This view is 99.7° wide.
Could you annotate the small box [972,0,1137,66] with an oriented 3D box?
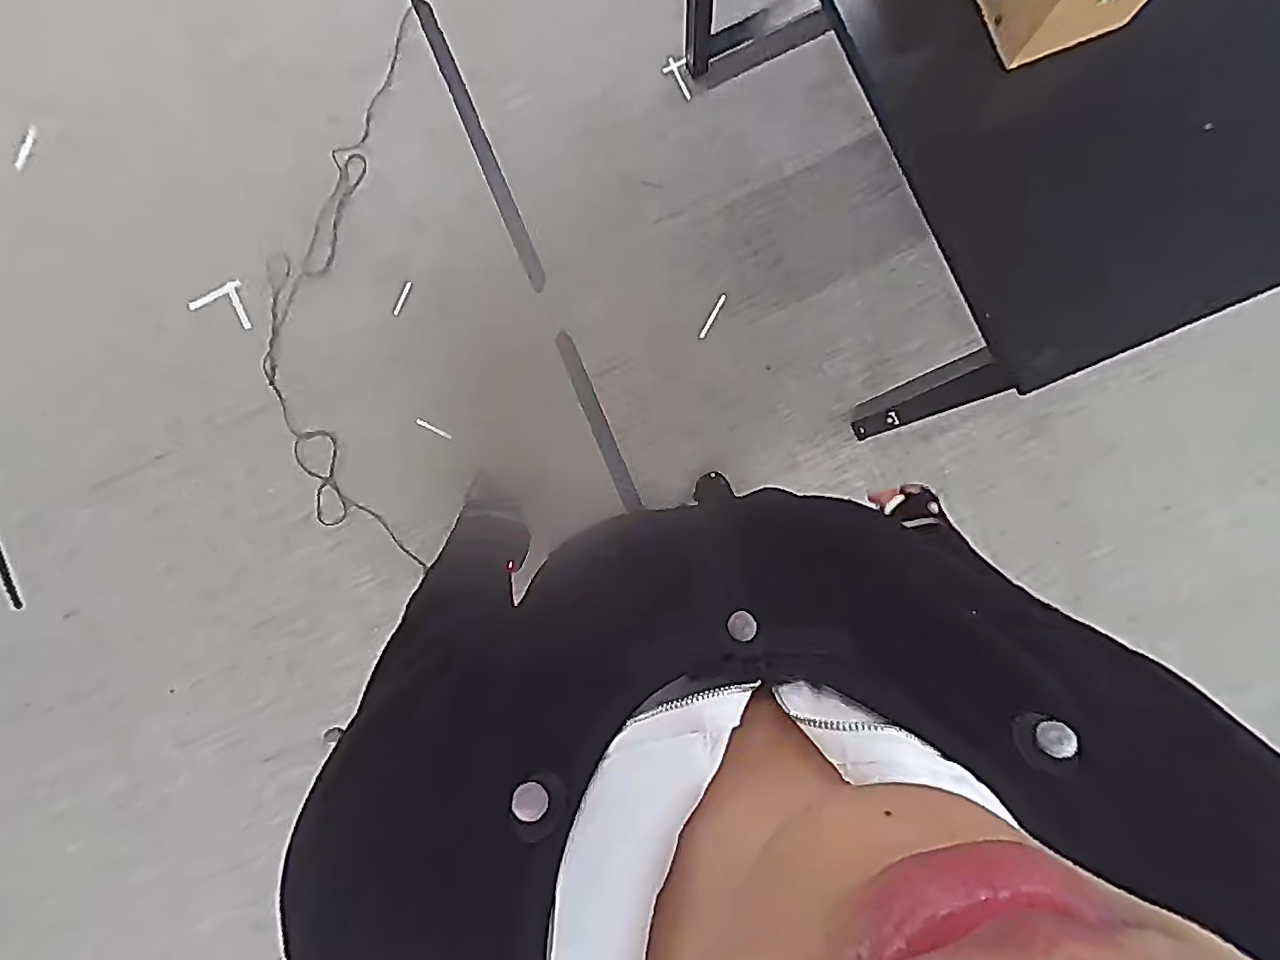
[{"bbox_3d":[0.570,-0.697,0.700,0.179,0.176,0.168,-20,87,3],"label":"small box"}]
